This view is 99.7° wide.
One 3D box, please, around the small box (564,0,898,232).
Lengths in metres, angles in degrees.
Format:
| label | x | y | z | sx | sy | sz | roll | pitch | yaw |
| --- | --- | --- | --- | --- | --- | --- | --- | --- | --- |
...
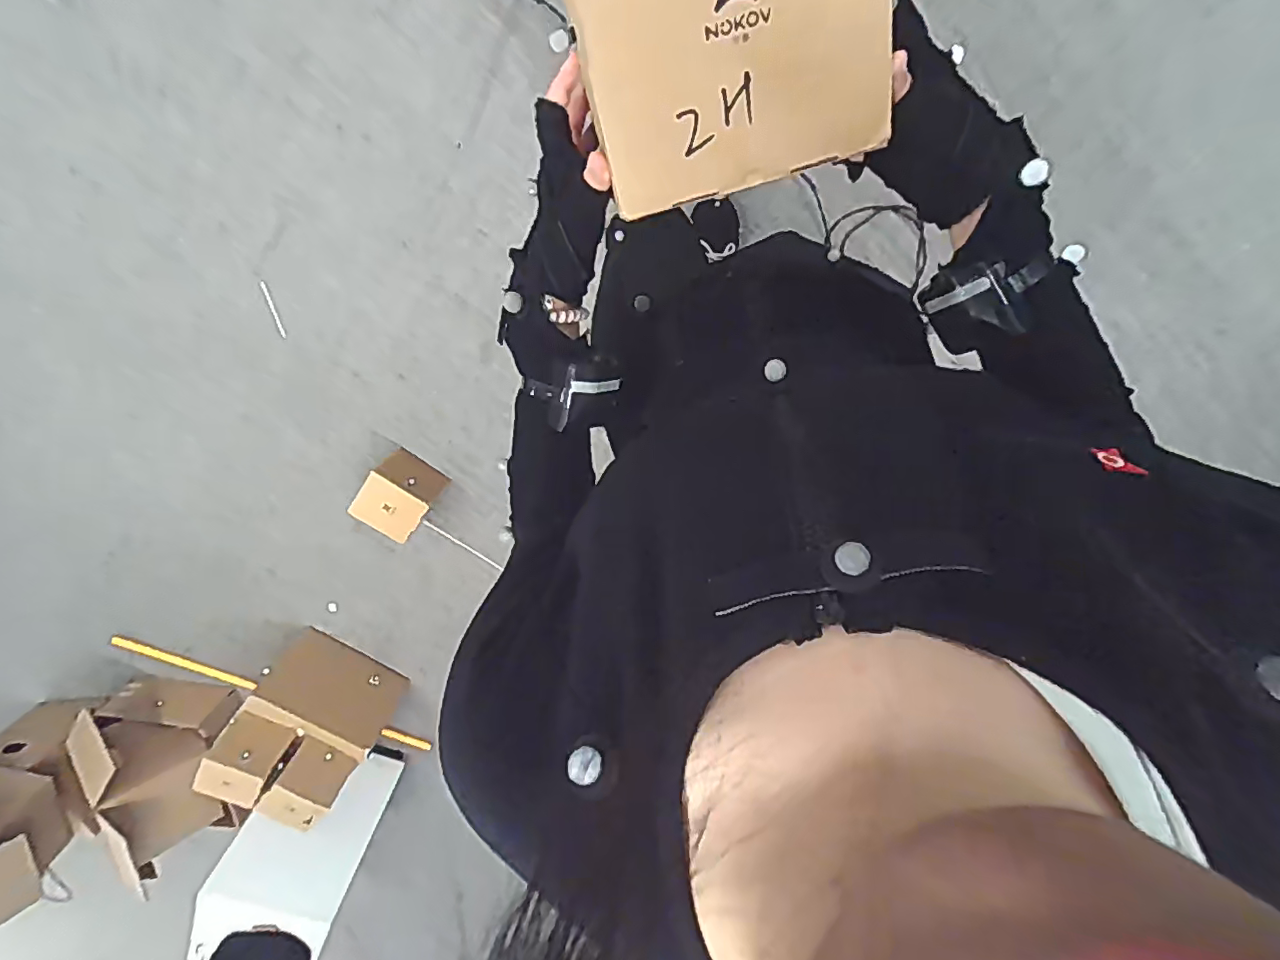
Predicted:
| label | x | y | z | sx | sy | sz | roll | pitch | yaw |
| --- | --- | --- | --- | --- | --- | --- | --- | --- | --- |
| small box | 0.043 | -0.279 | 0.342 | 0.168 | 0.176 | 0.179 | -14 | 123 | 4 |

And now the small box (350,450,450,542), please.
| label | x | y | z | sx | sy | sz | roll | pitch | yaw |
| --- | --- | --- | --- | --- | --- | --- | --- | --- | --- |
| small box | -0.677 | 0.037 | 1.540 | 0.179 | 0.176 | 0.168 | 35 | 113 | -16 |
